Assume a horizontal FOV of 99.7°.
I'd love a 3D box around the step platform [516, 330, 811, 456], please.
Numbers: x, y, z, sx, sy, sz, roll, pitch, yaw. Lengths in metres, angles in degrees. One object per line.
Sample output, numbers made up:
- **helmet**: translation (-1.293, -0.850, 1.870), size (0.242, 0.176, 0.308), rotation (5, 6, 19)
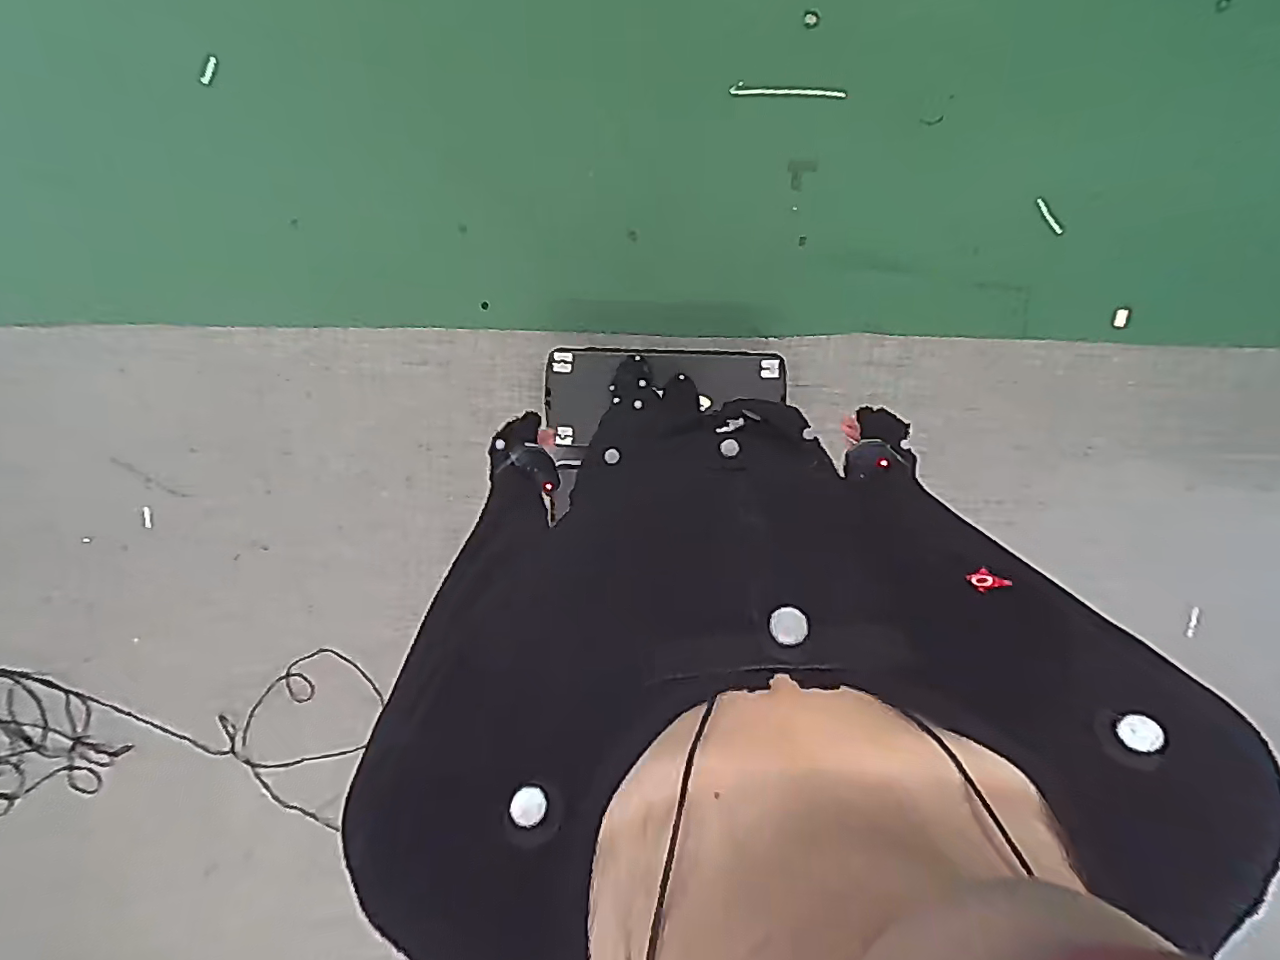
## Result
- **step platform**: translation (0.054, -0.218, 1.346), size (0.684, 0.204, 0.286), rotation (1, 102, 2)
